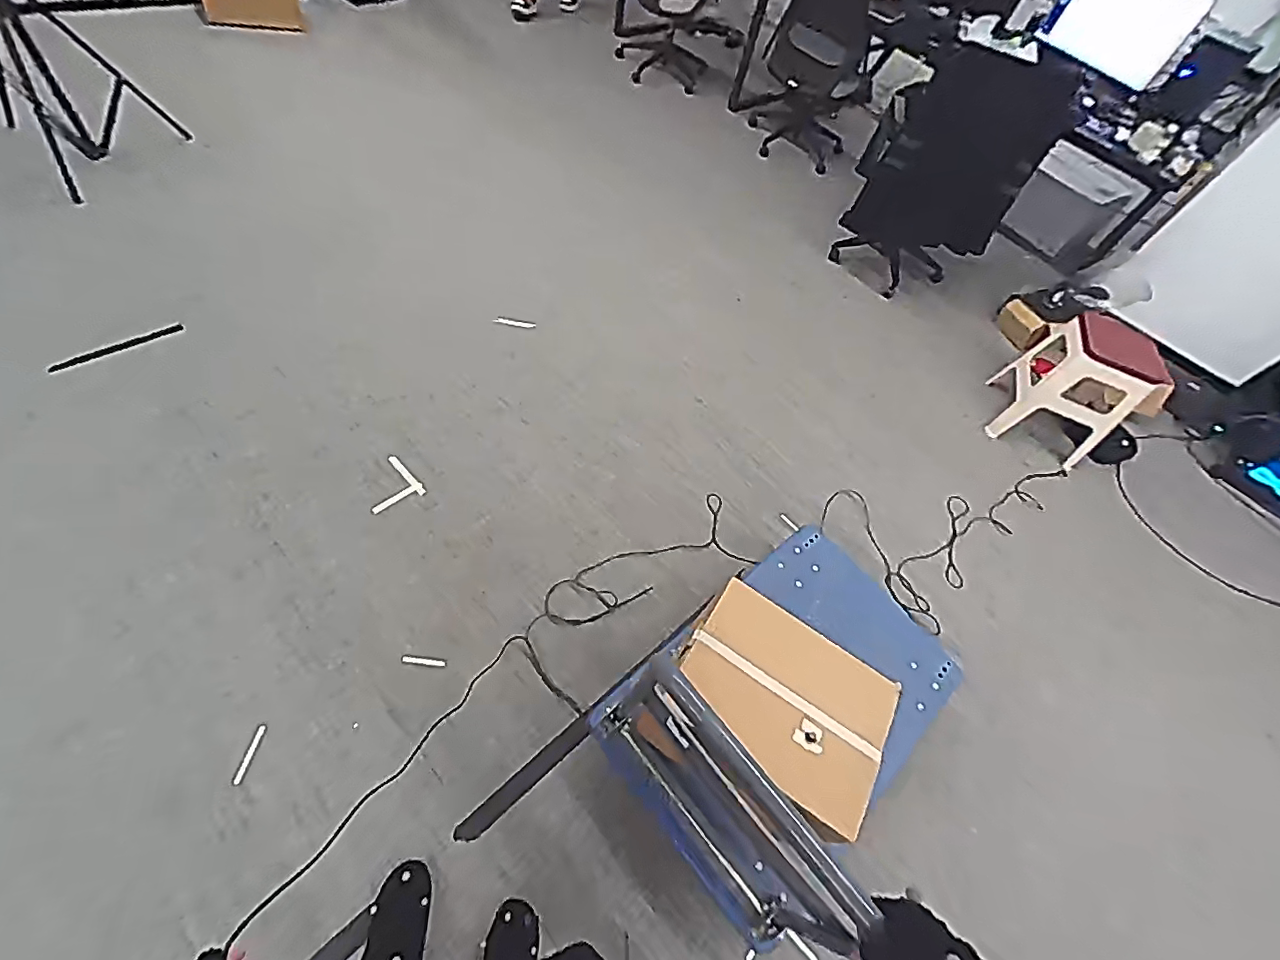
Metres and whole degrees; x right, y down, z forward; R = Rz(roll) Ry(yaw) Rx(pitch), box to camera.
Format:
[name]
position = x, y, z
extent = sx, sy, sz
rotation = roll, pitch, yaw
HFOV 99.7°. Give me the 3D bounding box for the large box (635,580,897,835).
[large box]
position = 0.254, 0.493, 1.168
extent = 0.408, 0.320, 0.320
rotation = 33, 57, 9
